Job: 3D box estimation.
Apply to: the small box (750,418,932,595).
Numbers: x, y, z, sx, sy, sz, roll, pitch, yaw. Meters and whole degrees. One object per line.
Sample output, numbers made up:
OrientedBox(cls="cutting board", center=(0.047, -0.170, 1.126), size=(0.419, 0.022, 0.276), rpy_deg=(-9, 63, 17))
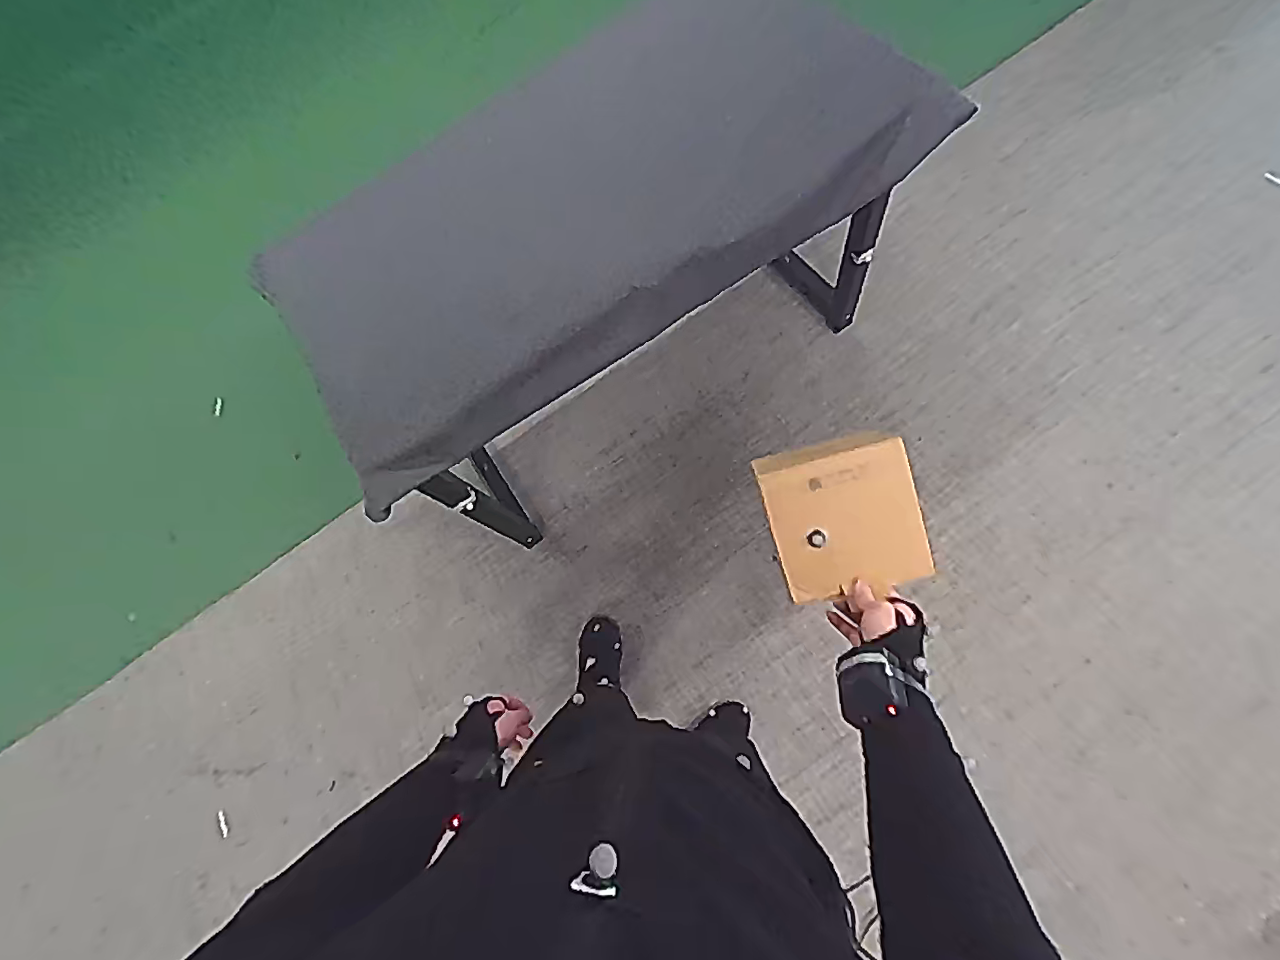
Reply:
OrientedBox(cls="small box", center=(0.246, 0.024, 0.702), size=(0.168, 0.179, 0.176), rpy_deg=(-15, 98, 11))
